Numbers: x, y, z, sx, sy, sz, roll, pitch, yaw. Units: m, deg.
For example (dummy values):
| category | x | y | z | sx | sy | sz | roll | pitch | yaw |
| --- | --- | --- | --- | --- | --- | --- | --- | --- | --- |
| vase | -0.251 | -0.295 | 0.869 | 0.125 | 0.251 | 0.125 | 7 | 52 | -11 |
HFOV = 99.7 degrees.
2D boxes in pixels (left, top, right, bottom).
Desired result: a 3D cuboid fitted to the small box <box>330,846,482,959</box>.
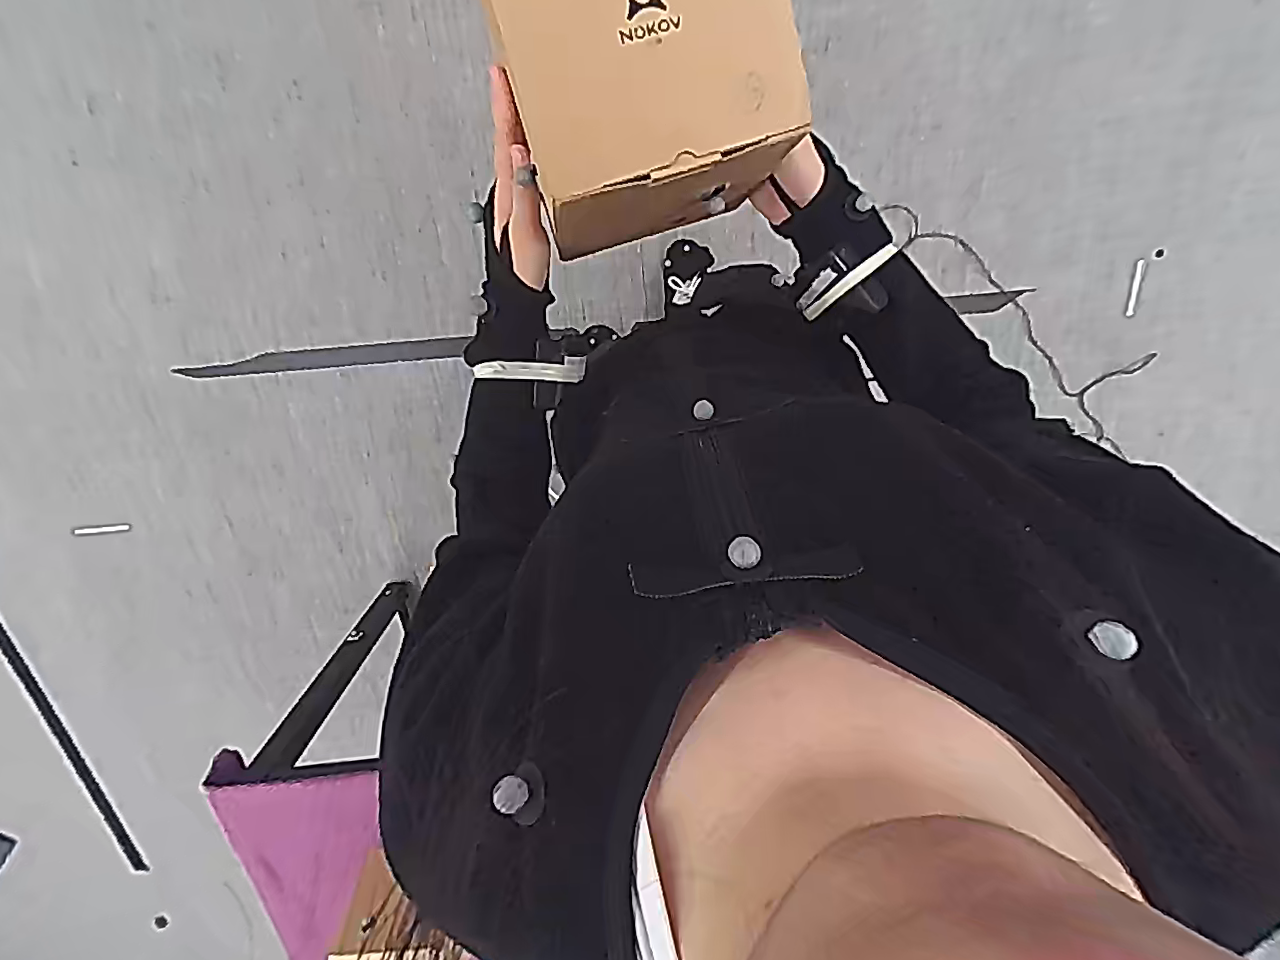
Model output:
| category | x | y | z | sx | sy | sz | roll | pitch | yaw |
| --- | --- | --- | --- | --- | --- | --- | --- | --- | --- |
| small box | -0.387 | 0.767 | 0.927 | 0.179 | 0.176 | 0.168 | -4 | 111 | -1 |
